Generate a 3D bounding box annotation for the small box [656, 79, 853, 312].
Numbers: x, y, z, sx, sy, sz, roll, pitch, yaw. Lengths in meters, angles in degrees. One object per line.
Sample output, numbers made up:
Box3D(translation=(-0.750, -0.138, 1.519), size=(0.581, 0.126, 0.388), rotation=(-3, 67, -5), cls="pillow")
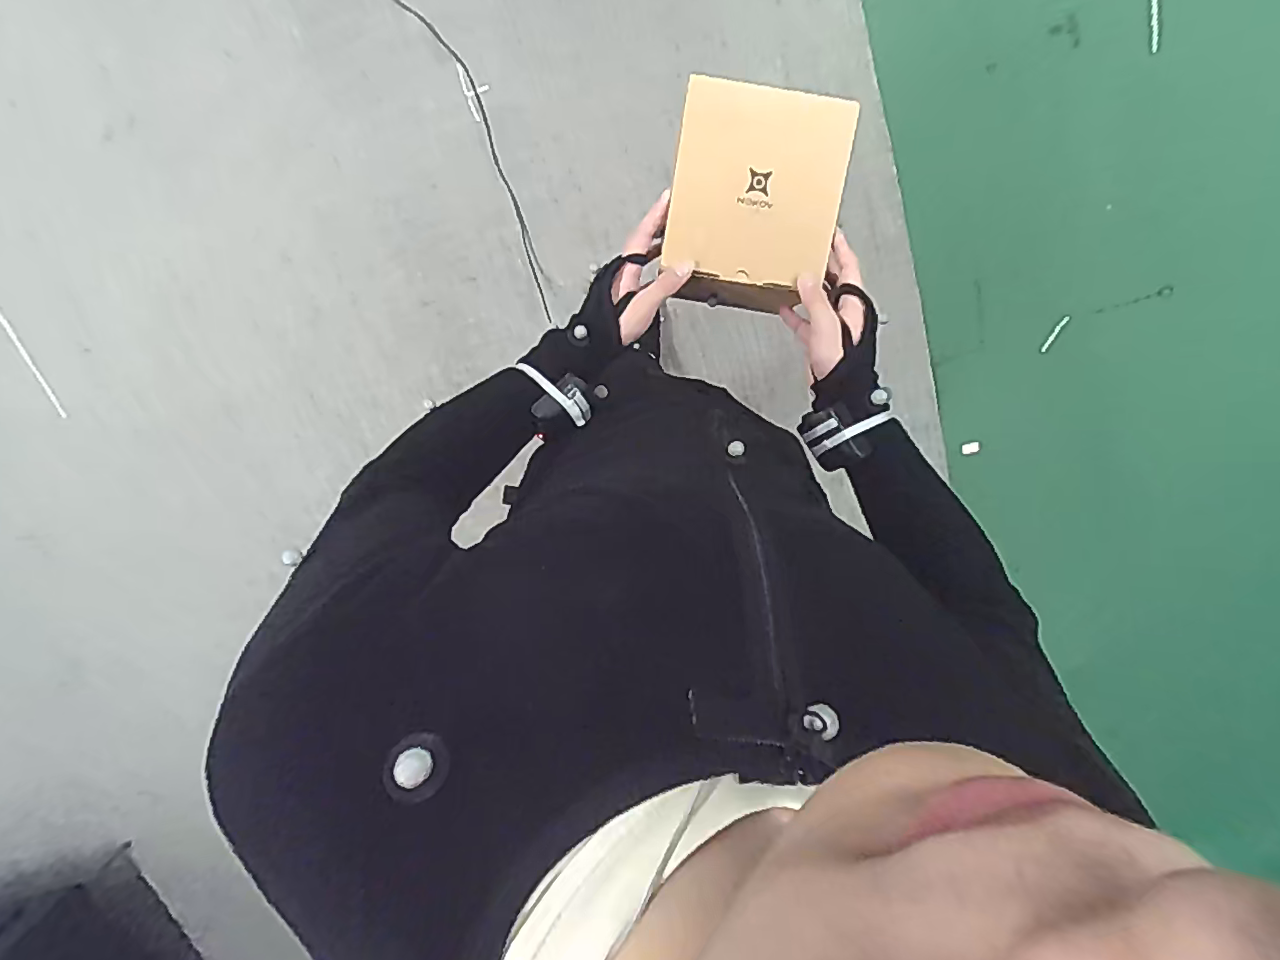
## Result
Box3D(translation=(0.111, -0.297, 0.604), size=(0.168, 0.176, 0.179), rotation=(8, 101, -2), cls="small box")
